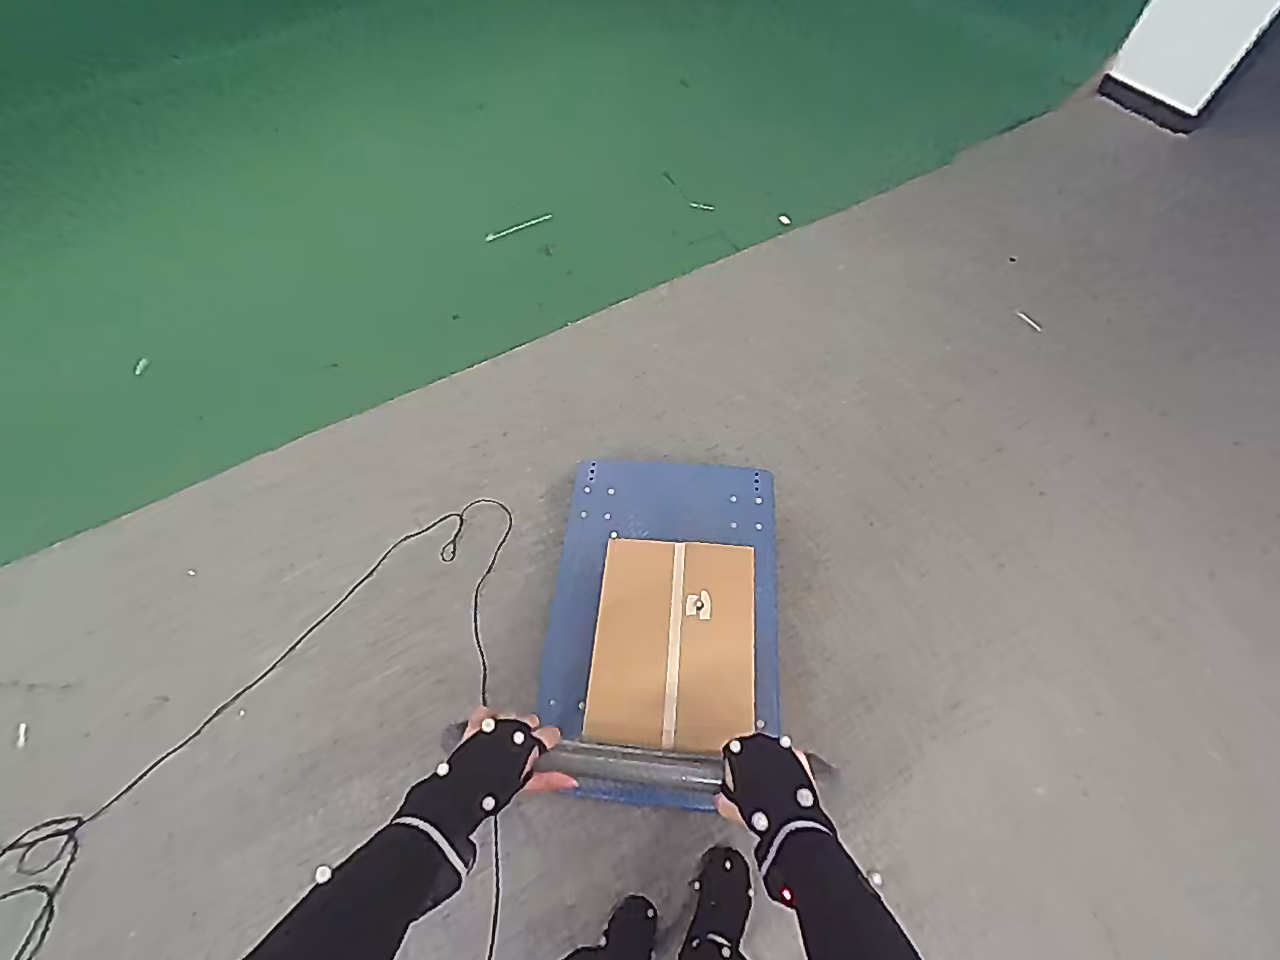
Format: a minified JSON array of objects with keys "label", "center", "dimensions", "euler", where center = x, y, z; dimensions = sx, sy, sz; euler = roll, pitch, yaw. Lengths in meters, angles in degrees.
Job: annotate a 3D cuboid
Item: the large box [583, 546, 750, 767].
[{"label":"large box","center":[0.072,0.399,1.209],"dimensions":[0.320,0.320,0.408],"euler":[4,60,6]}]
